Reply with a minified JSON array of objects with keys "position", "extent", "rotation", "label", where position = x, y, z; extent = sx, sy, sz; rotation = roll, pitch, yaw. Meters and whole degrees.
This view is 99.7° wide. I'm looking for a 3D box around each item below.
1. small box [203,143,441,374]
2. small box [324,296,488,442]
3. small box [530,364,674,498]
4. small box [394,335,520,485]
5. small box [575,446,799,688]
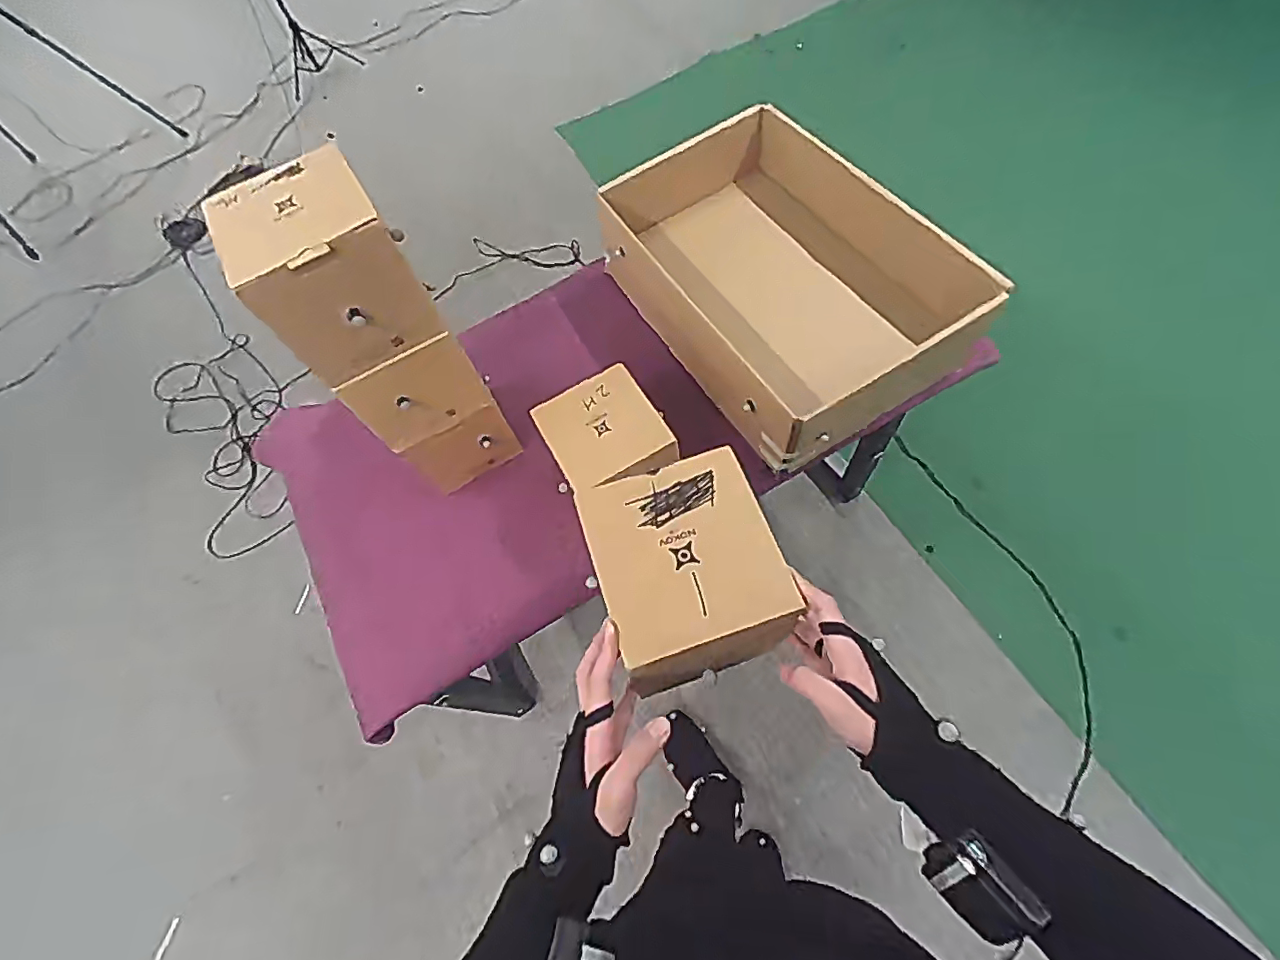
[{"position":[-0.372,-0.254,0.657],"extent":[0.168,0.176,0.179],"rotation":[-31,65,-9],"label":"small box"},{"position":[-0.352,-0.179,0.801],"extent":[0.168,0.176,0.179],"rotation":[-30,64,-8],"label":"small box"},{"position":[-0.049,-0.046,0.873],"extent":[0.168,0.176,0.179],"rotation":[-29,63,-7],"label":"small box"},{"position":[-0.334,-0.113,0.948],"extent":[0.168,0.176,0.179],"rotation":[-30,64,-8],"label":"small box"},{"position":[0.042,0.097,0.569],"extent":[0.168,0.176,0.179],"rotation":[-18,61,-5],"label":"small box"}]
